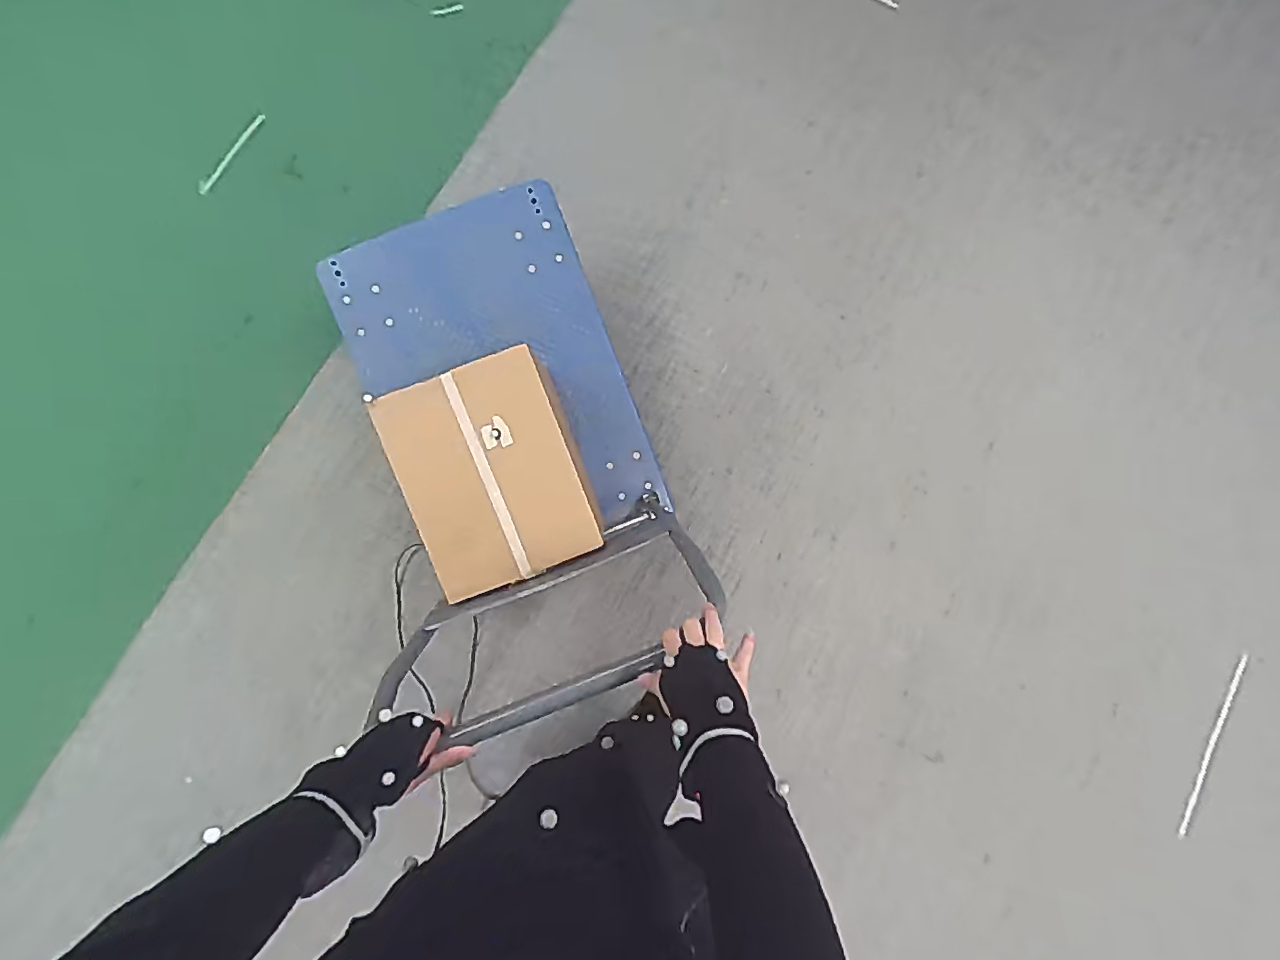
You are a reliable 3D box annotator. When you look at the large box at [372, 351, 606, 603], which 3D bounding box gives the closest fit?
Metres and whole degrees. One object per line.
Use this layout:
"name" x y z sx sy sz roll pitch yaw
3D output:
"large box" -0.287 -0.010 1.156 0.320 0.320 0.408 -22 94 -3
